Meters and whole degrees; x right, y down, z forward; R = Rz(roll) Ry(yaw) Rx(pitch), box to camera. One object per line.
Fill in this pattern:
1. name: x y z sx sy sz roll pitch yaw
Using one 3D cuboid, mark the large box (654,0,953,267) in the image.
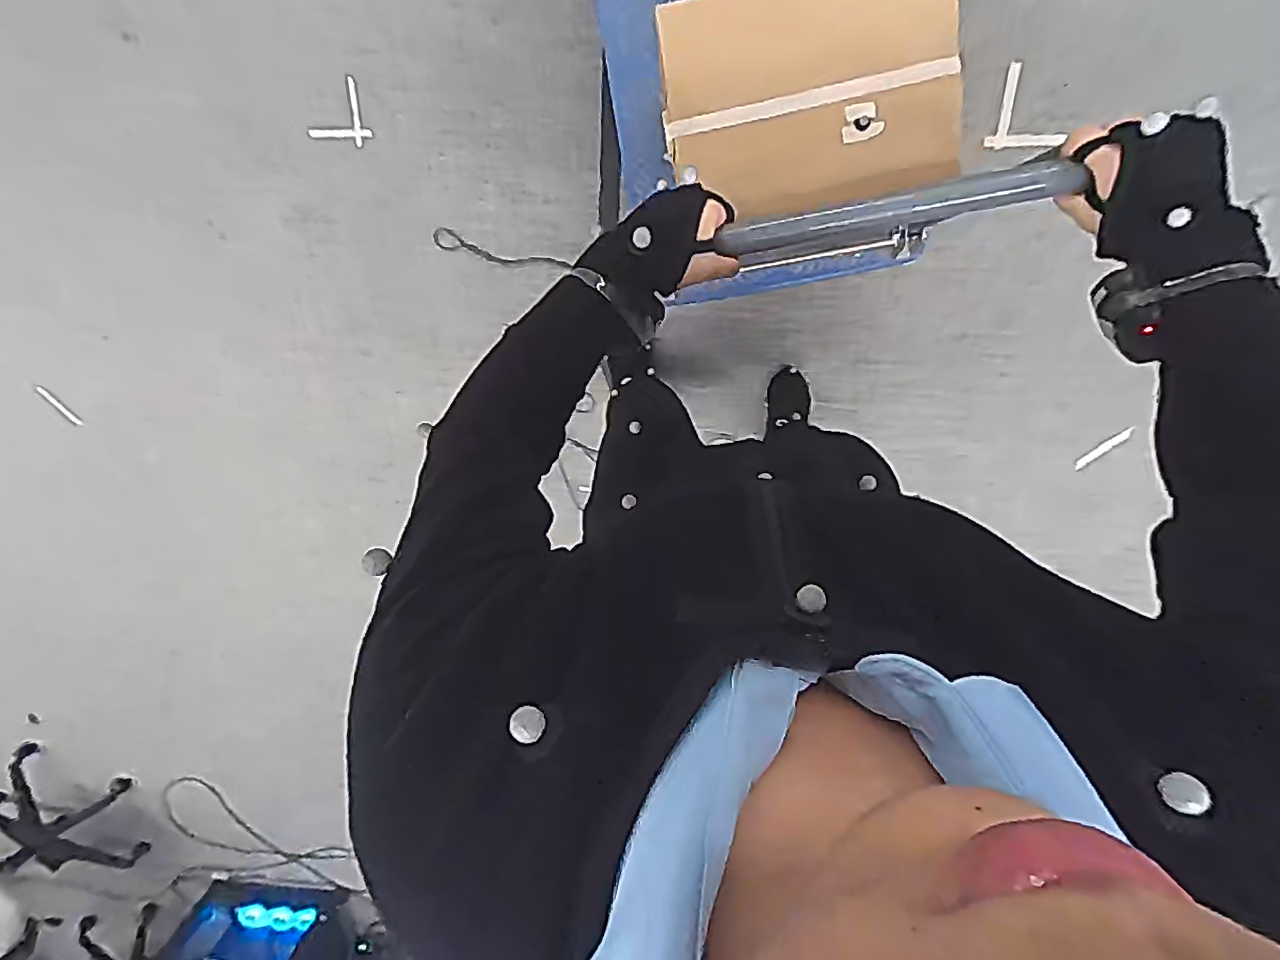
1. large box: 0.248 -0.574 0.920 0.408 0.320 0.320 -8 106 6
